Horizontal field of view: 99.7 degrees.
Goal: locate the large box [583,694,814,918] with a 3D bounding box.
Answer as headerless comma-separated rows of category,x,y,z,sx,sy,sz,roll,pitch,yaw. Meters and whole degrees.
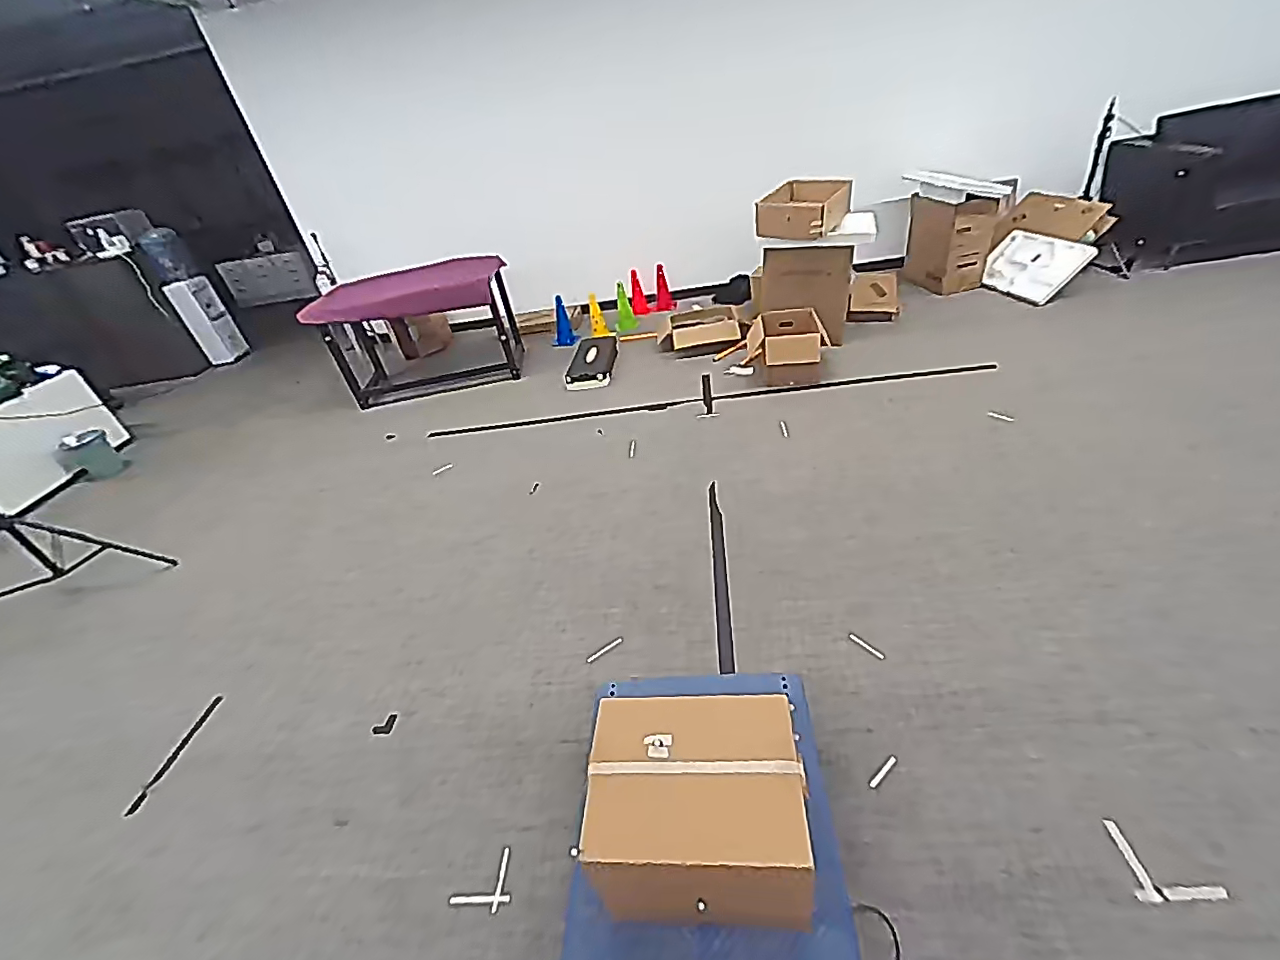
large box,0.128,0.686,1.135,0.408,0.320,0.320,-6,35,9
